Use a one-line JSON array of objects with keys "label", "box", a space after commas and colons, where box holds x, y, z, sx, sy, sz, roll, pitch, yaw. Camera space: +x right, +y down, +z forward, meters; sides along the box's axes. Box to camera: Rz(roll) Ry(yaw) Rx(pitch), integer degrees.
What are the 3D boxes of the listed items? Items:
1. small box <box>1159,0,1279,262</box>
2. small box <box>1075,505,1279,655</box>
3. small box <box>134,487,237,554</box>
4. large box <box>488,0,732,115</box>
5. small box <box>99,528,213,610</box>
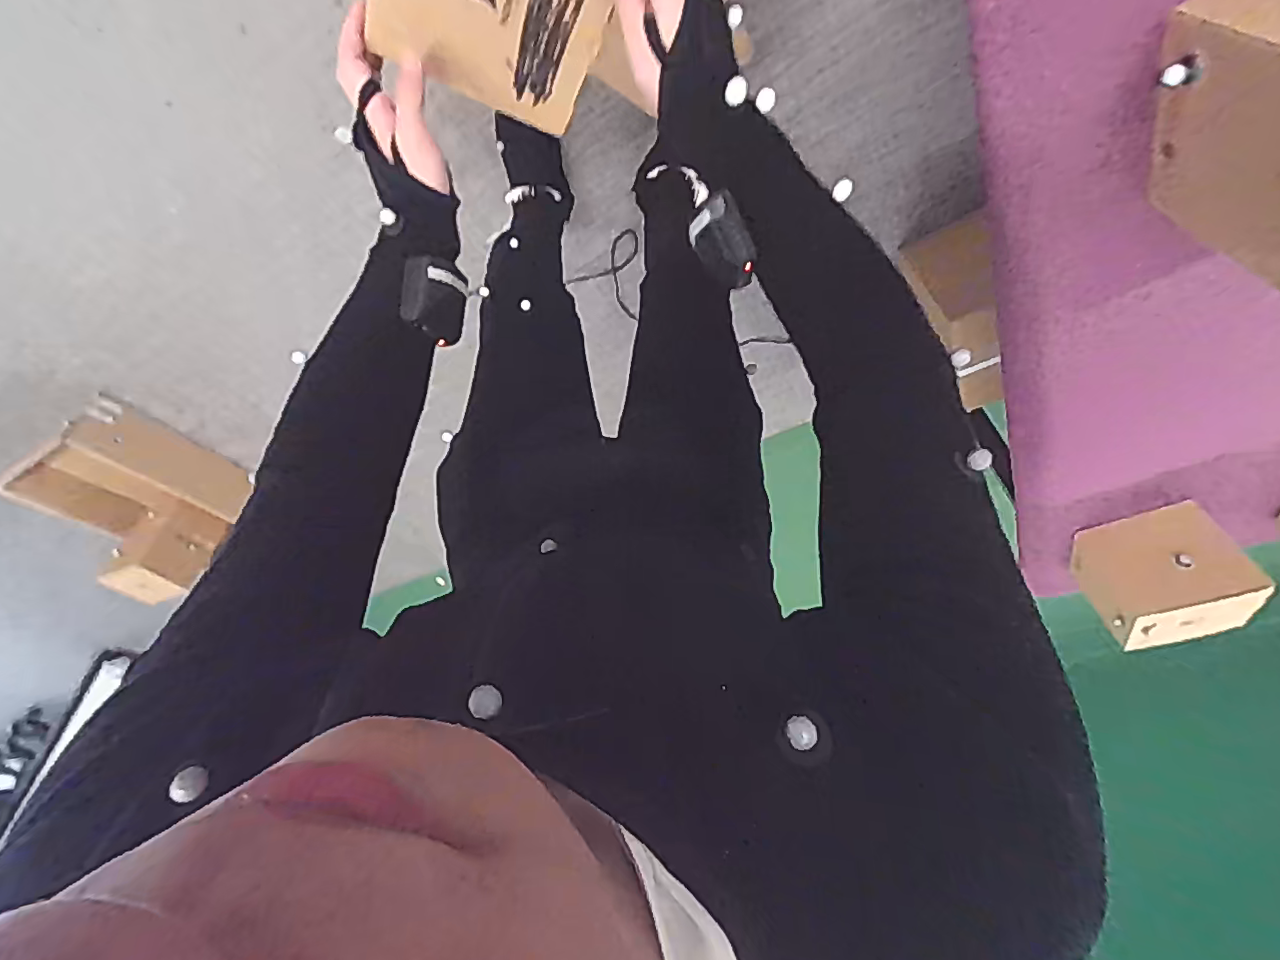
[{"label": "small box", "box": [0.506, -0.273, 0.361, 0.179, 0.176, 0.168, -26, 136, 22]}, {"label": "small box", "box": [0.891, 0.169, 0.918, 0.179, 0.176, 0.168, -24, 135, 19]}, {"label": "small box", "box": [-1.485, 0.152, 1.781, 0.179, 0.176, 0.168, -20, 134, 17]}, {"label": "large box", "box": [-0.062, -0.798, 0.722, 0.408, 0.320, 0.320, 18, 136, -26]}, {"label": "small box", "box": [-1.484, 0.274, 1.672, 0.179, 0.176, 0.168, -17, 136, 14]}]
